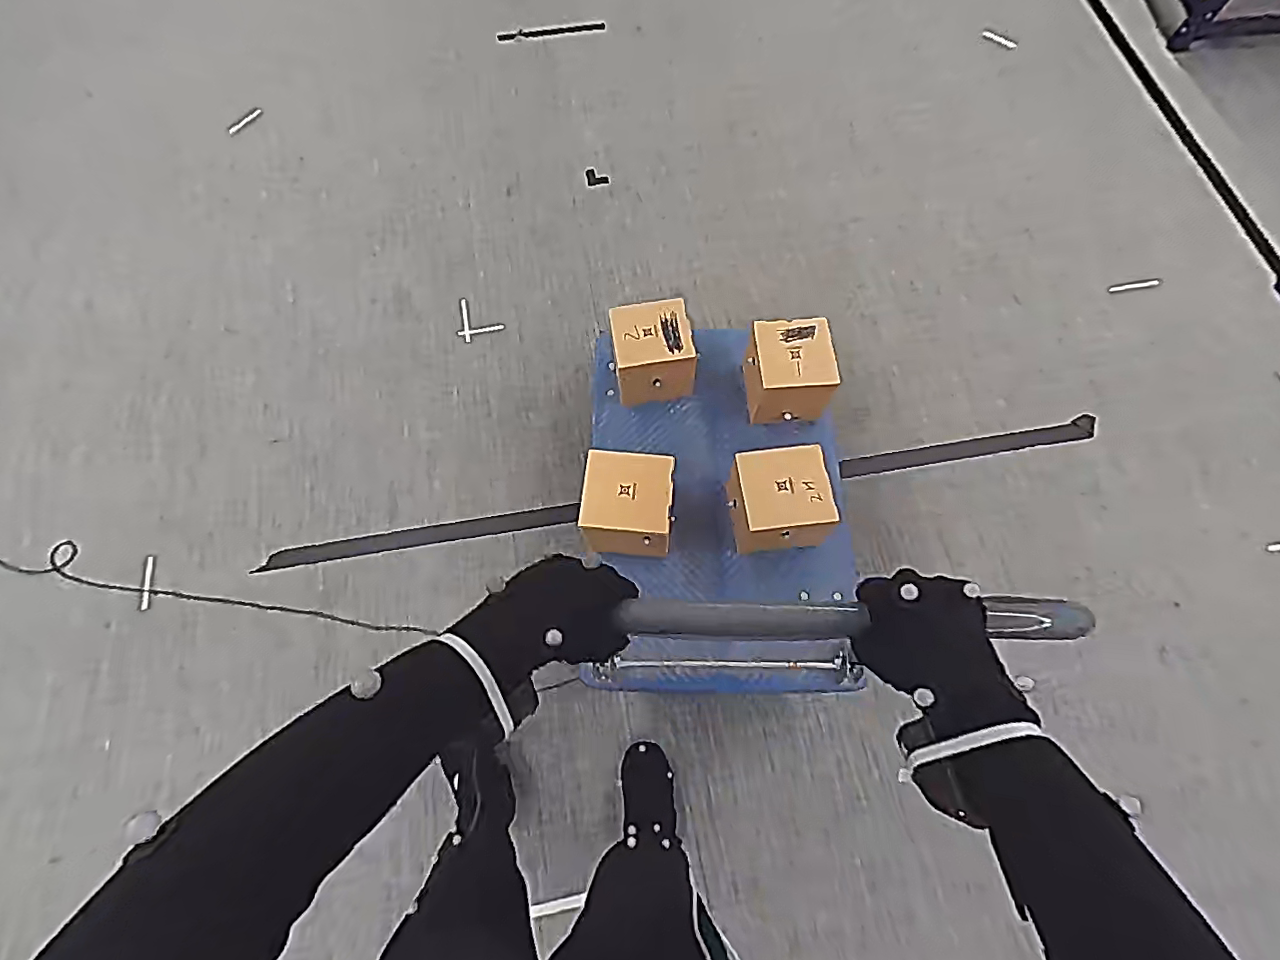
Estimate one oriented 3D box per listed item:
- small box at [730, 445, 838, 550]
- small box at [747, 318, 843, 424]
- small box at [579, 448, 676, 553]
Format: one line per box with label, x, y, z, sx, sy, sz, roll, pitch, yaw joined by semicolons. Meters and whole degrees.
small box;0.286;0.042;1.120;0.179;0.176;0.168;-5;68;0
small box;0.344;-0.246;1.238;0.168;0.176;0.179;-3;69;1
small box;-0.022;0.048;1.130;0.179;0.176;0.168;6;67;2
